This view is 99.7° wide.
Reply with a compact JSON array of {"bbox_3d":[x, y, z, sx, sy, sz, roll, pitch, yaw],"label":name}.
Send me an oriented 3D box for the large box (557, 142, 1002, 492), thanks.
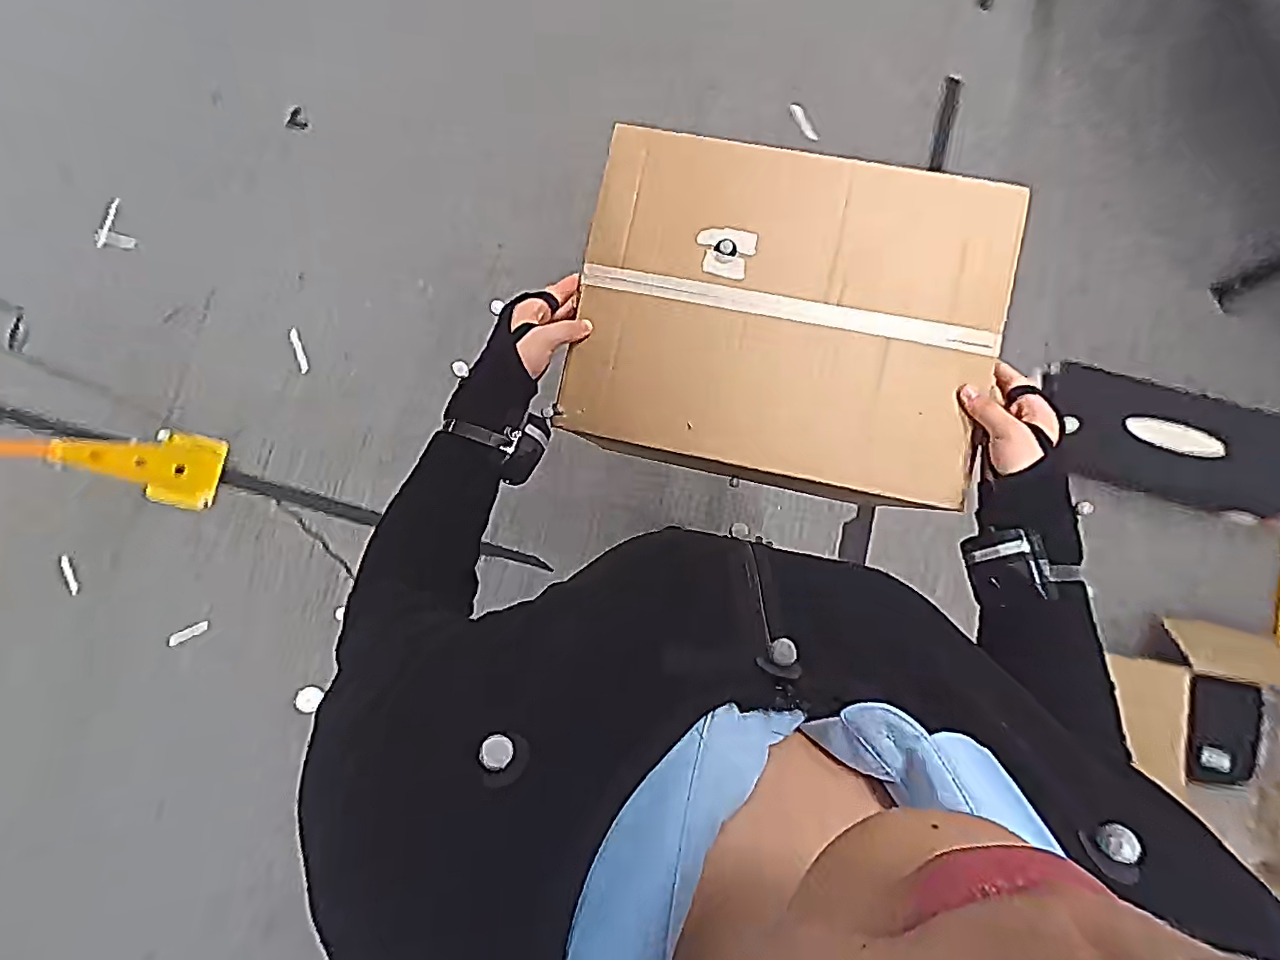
[{"bbox_3d":[0.149,-0.167,0.689,0.408,0.320,0.320,10,89,6],"label":"large box"}]
